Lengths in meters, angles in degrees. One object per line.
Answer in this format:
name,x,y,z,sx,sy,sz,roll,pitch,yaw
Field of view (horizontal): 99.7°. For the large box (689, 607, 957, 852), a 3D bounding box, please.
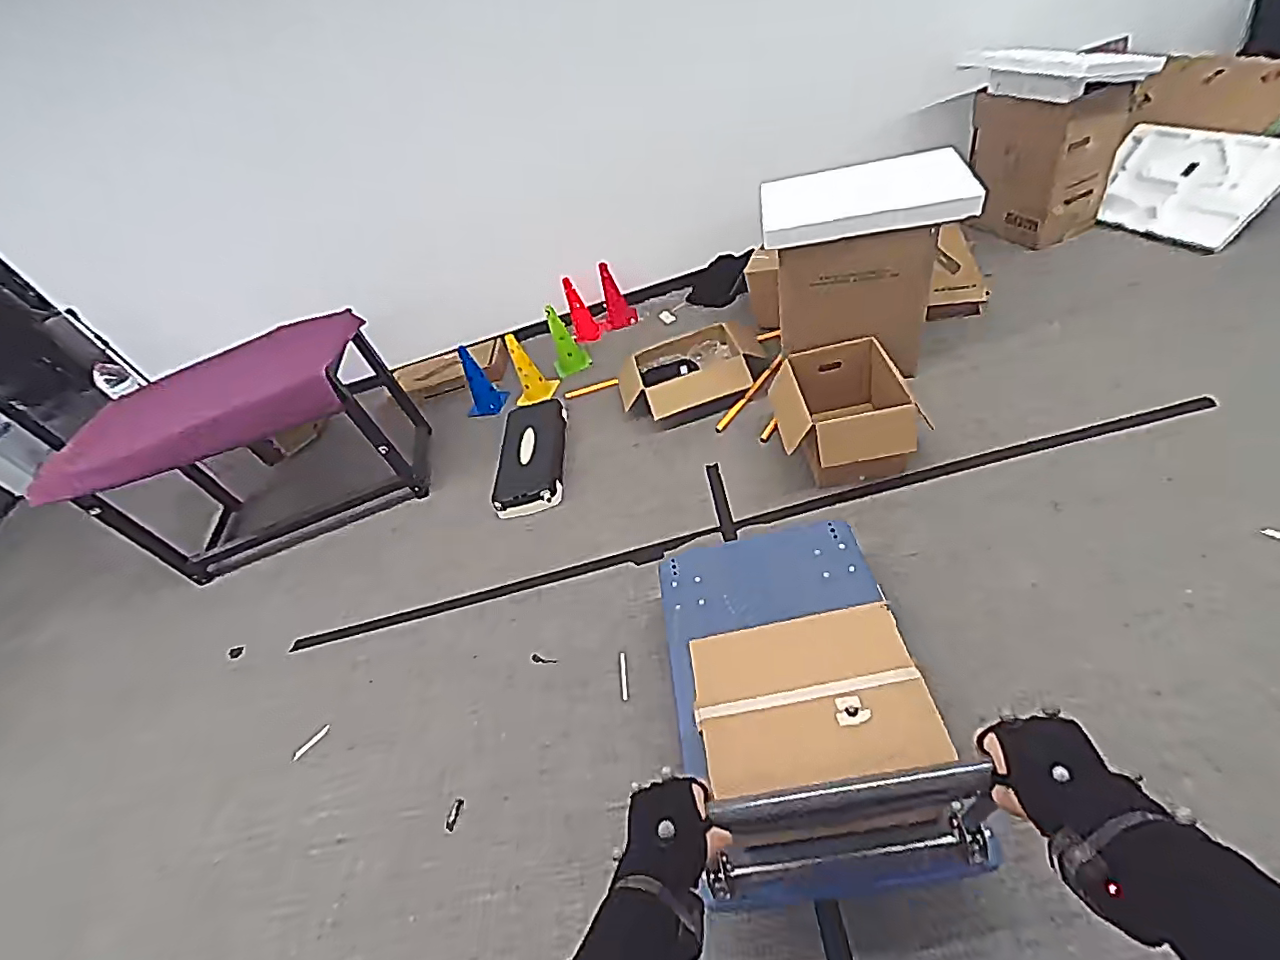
large box,0.339,0.507,1.088,0.408,0.320,0.320,-13,44,7
